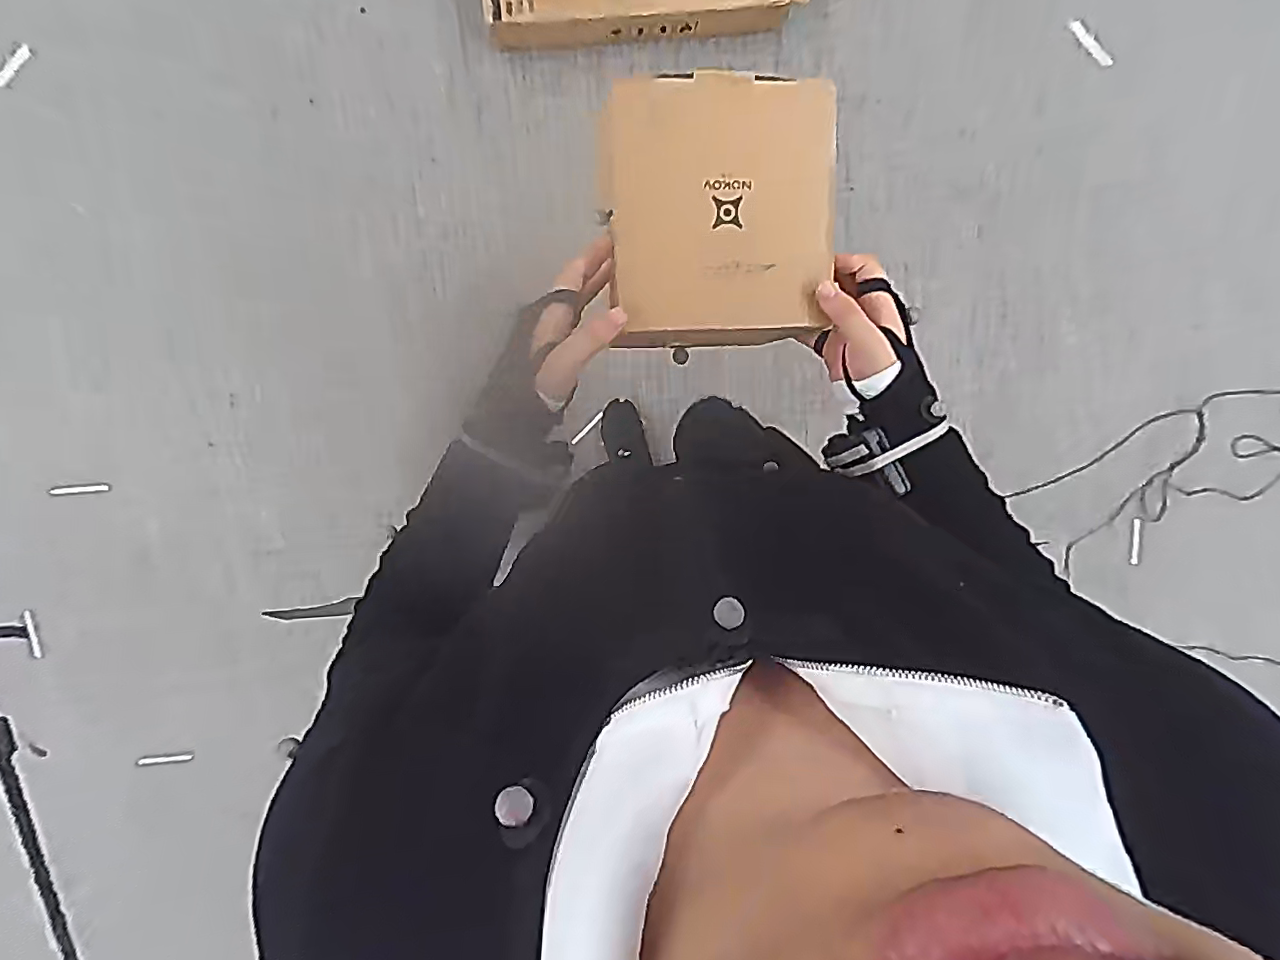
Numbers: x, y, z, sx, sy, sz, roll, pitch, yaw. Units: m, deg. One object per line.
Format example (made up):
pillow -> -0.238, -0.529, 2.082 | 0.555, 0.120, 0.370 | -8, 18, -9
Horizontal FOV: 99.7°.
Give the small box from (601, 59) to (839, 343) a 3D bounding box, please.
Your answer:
small box -> 0.055, -0.219, 0.472 | 0.168, 0.176, 0.179 | -3, 99, -7
